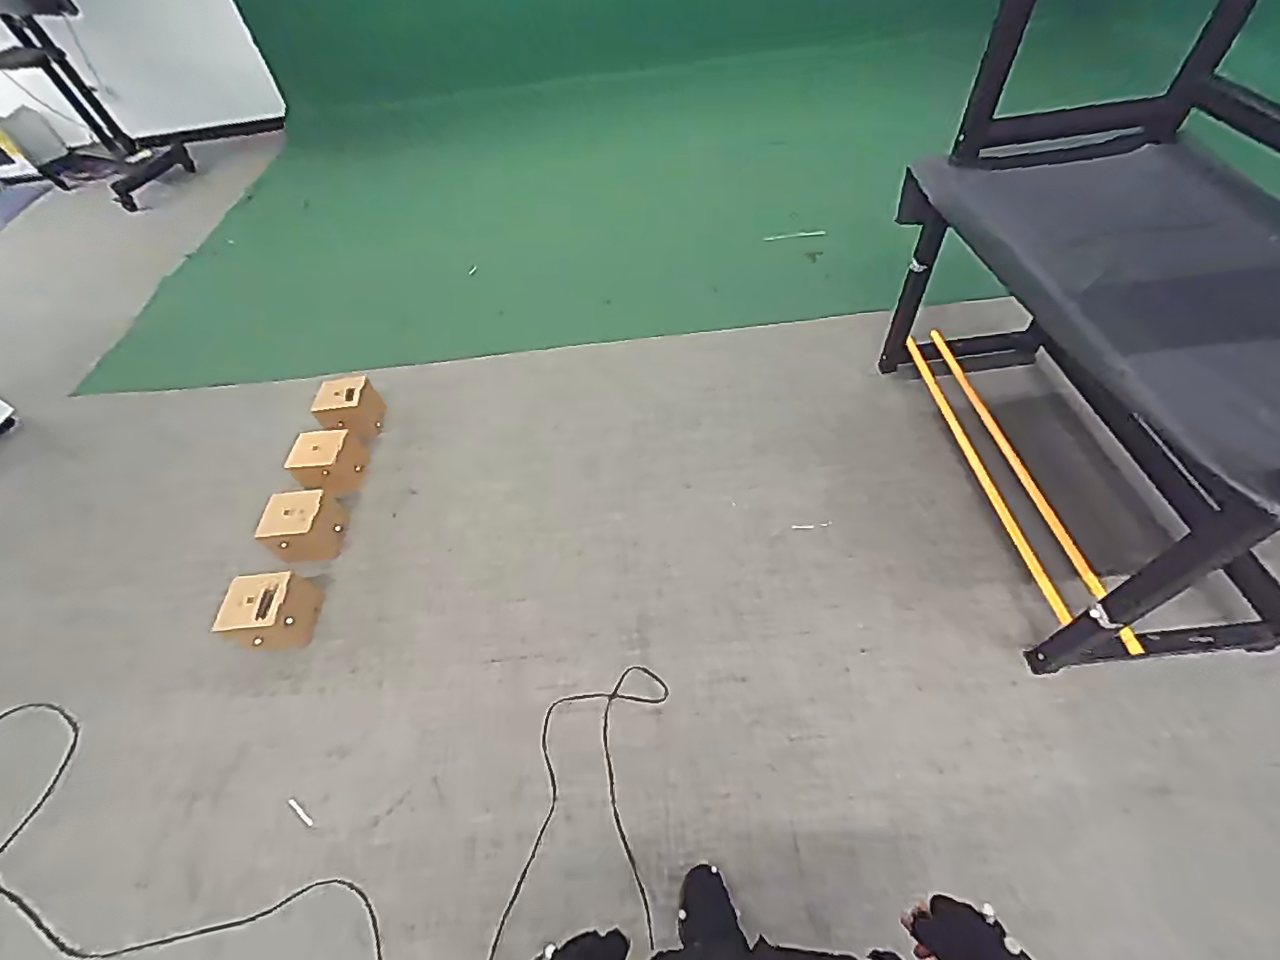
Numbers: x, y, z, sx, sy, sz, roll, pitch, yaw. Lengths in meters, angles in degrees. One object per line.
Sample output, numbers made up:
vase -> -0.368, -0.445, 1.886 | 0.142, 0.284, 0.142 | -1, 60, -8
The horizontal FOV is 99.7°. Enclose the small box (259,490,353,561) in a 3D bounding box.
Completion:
small box -> -1.074, 0.152, 1.752 | 0.179, 0.176, 0.168 | -6, 53, 2

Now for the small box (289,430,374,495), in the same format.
small box -> -1.088, -0.057, 1.920 | 0.179, 0.176, 0.168 | -4, 52, 3

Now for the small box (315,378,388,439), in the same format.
small box -> -1.101, -0.269, 2.084 | 0.179, 0.176, 0.168 | -7, 52, 2
